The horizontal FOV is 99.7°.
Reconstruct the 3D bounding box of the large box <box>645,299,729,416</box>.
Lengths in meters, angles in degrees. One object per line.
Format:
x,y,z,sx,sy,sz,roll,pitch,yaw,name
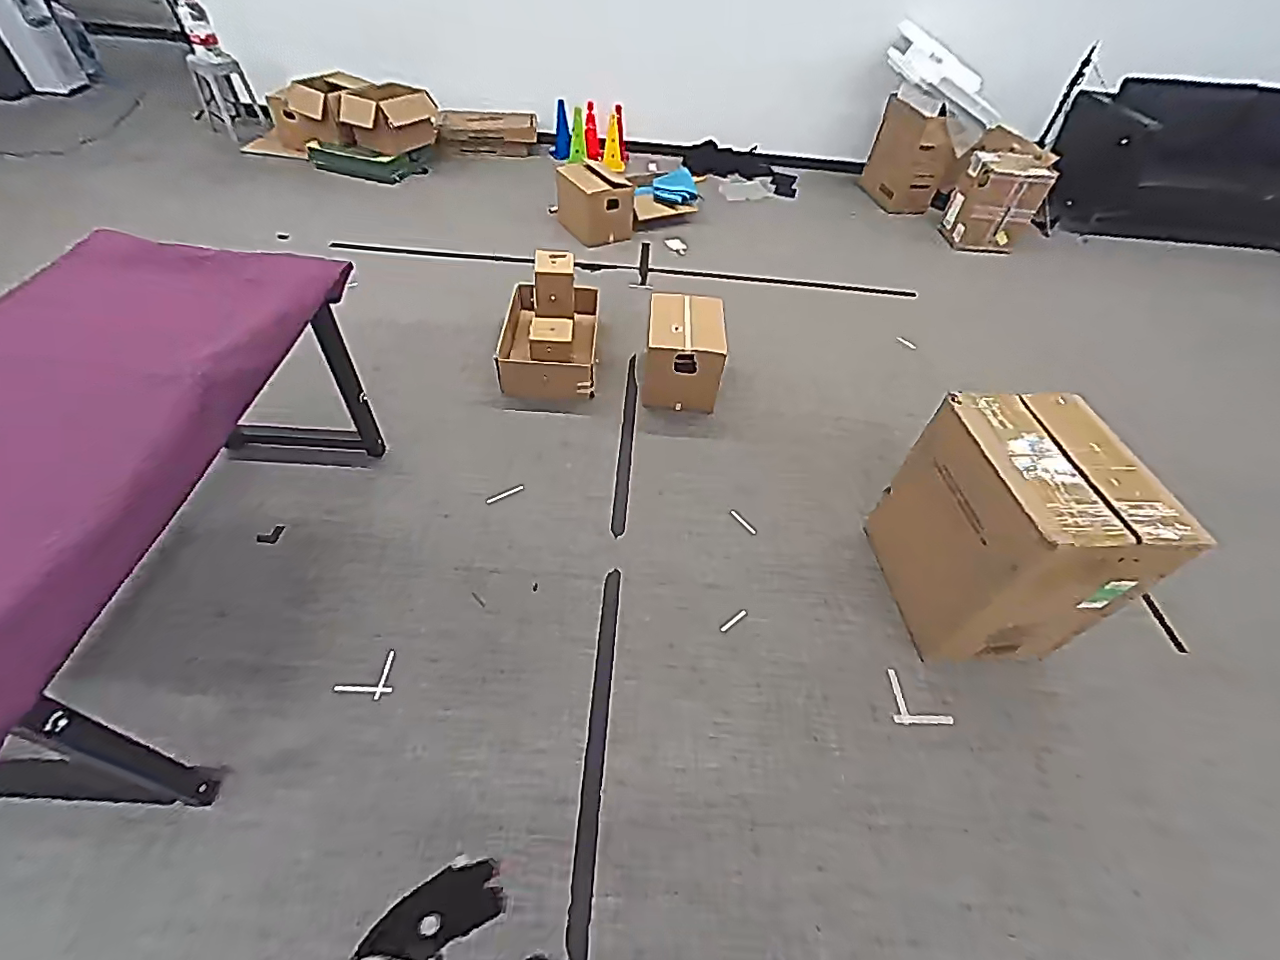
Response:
0.188,-0.531,2.337,0.320,0.320,0.408,4,49,-1,large box

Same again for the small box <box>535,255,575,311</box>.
-0.372,-0.868,2.383,0.168,0.176,0.179,0,50,-6,small box

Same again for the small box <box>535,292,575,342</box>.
-0.394,-0.752,2.500,0.179,0.176,0.168,-3,50,-9,small box
